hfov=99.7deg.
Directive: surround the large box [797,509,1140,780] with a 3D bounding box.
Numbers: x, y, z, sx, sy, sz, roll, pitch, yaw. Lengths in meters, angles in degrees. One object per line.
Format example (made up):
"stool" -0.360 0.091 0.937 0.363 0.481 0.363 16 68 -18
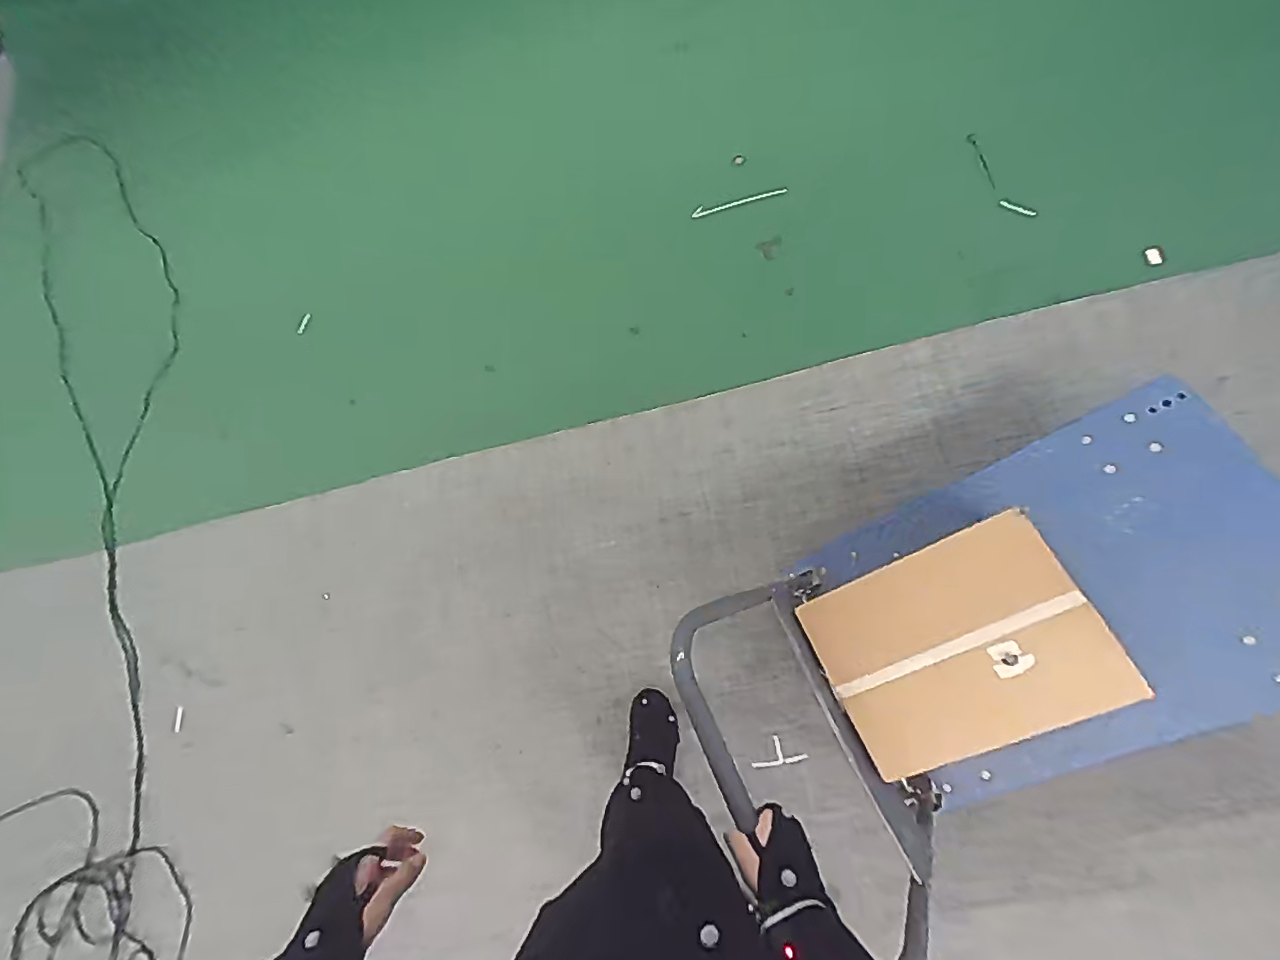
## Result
"large box" 0.572 0.299 1.023 0.408 0.320 0.320 -31 69 18
